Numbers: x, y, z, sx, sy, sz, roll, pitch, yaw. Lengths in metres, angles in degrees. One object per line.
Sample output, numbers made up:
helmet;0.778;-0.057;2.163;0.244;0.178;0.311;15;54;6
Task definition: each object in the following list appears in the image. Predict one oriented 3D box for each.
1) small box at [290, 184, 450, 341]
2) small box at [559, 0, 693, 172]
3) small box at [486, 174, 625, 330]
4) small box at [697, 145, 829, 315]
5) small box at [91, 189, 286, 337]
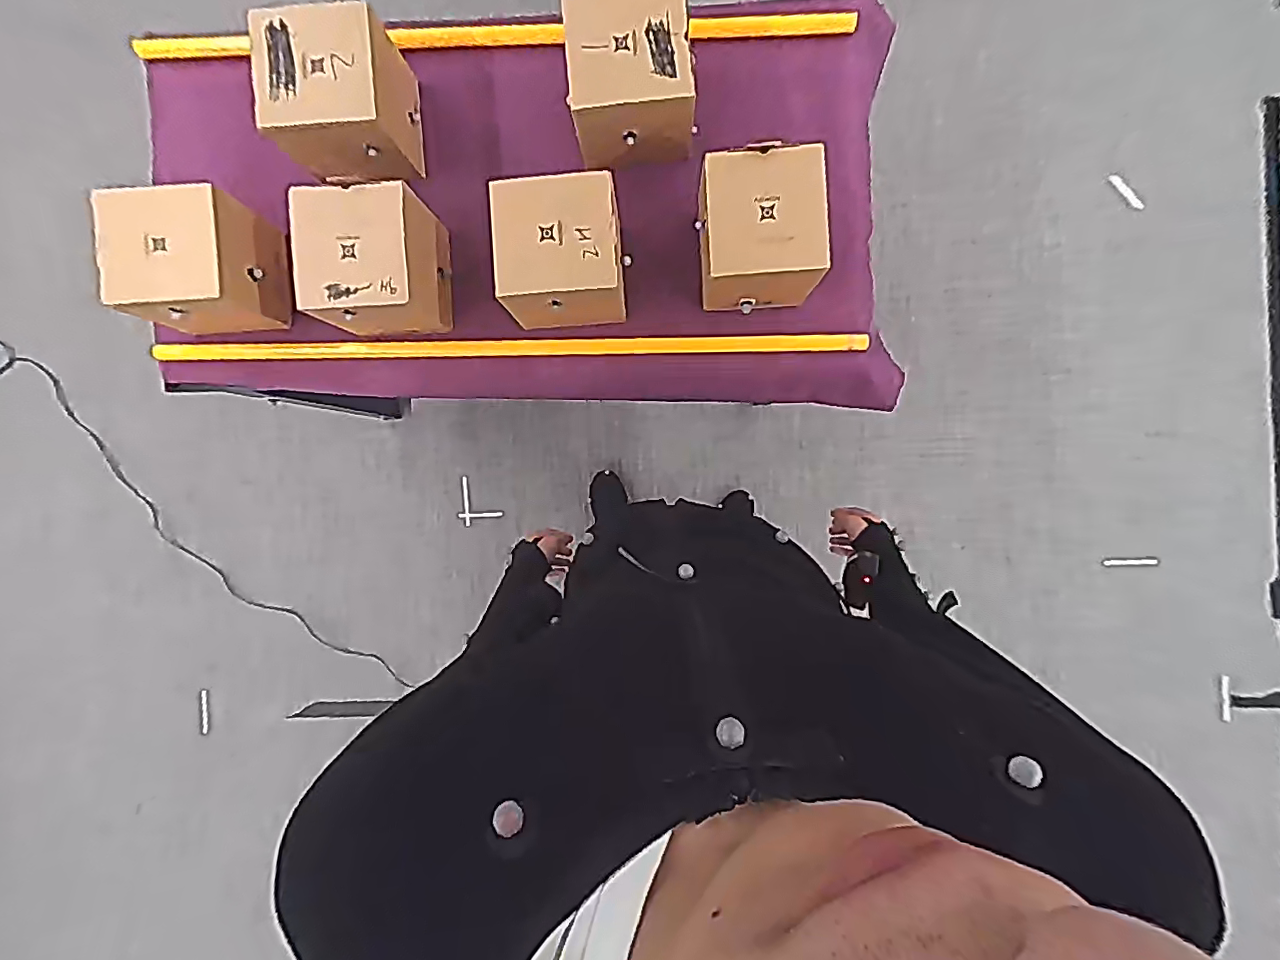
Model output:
small box;-0.407;-0.326;0.839;0.168;0.176;0.179;-2;91;3
small box;-0.017;-0.597;0.820;0.179;0.176;0.168;-5;92;3
small box;-0.121;-0.335;0.828;0.179;0.176;0.168;-3;90;3
small box;0.176;-0.365;0.816;0.168;0.176;0.179;-3;89;4
small box;-0.689;-0.330;0.849;0.179;0.176;0.168;-4;91;1
